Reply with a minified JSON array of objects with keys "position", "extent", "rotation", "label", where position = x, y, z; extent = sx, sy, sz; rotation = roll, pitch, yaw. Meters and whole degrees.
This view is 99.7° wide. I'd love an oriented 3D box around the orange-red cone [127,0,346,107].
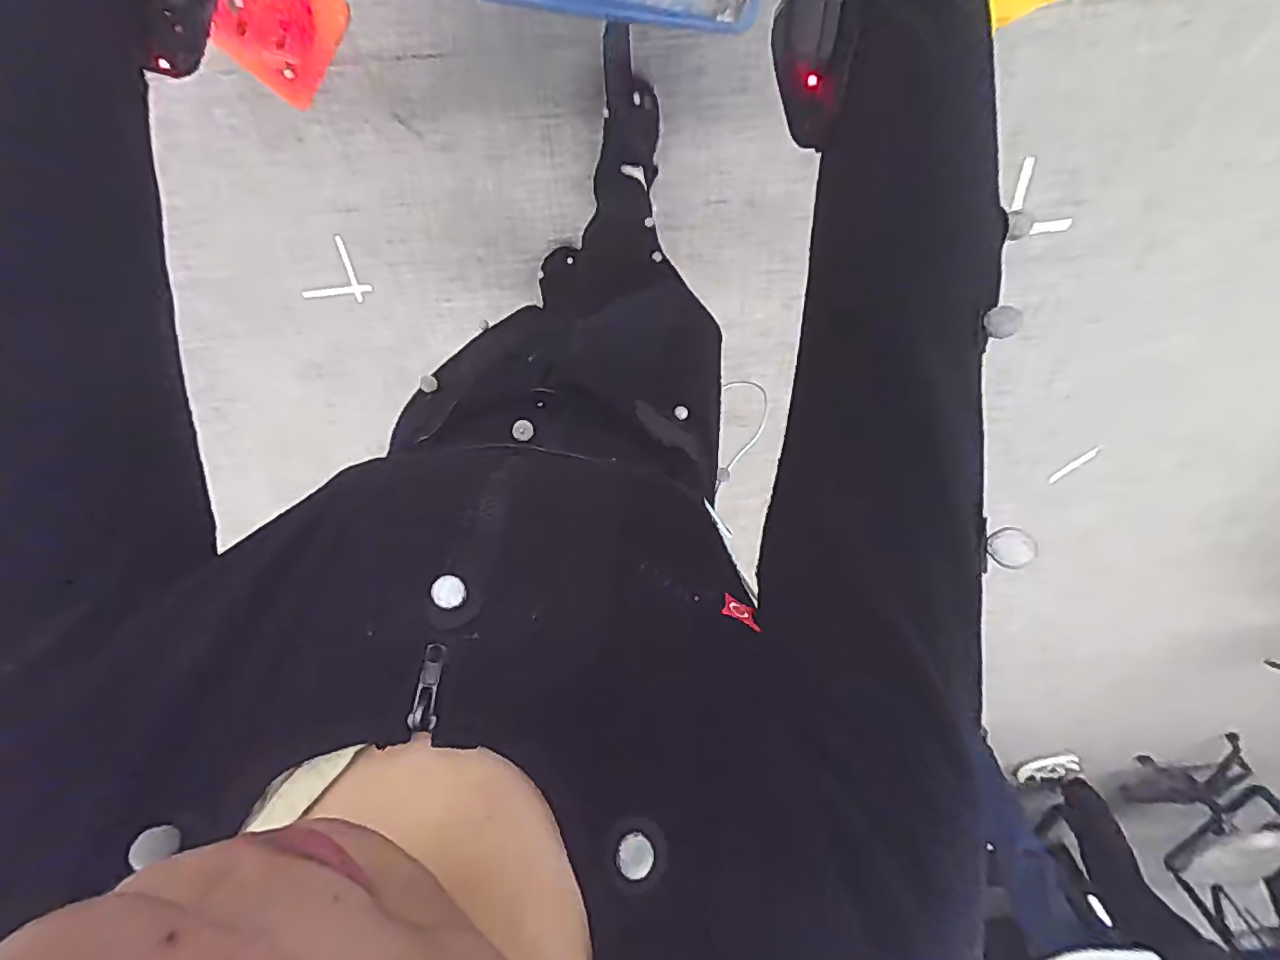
[{"position":[-0.610,-0.681,0.771],"extent":[0.198,0.360,0.199],"rotation":[35,115,-27],"label":"orange-red cone"}]
